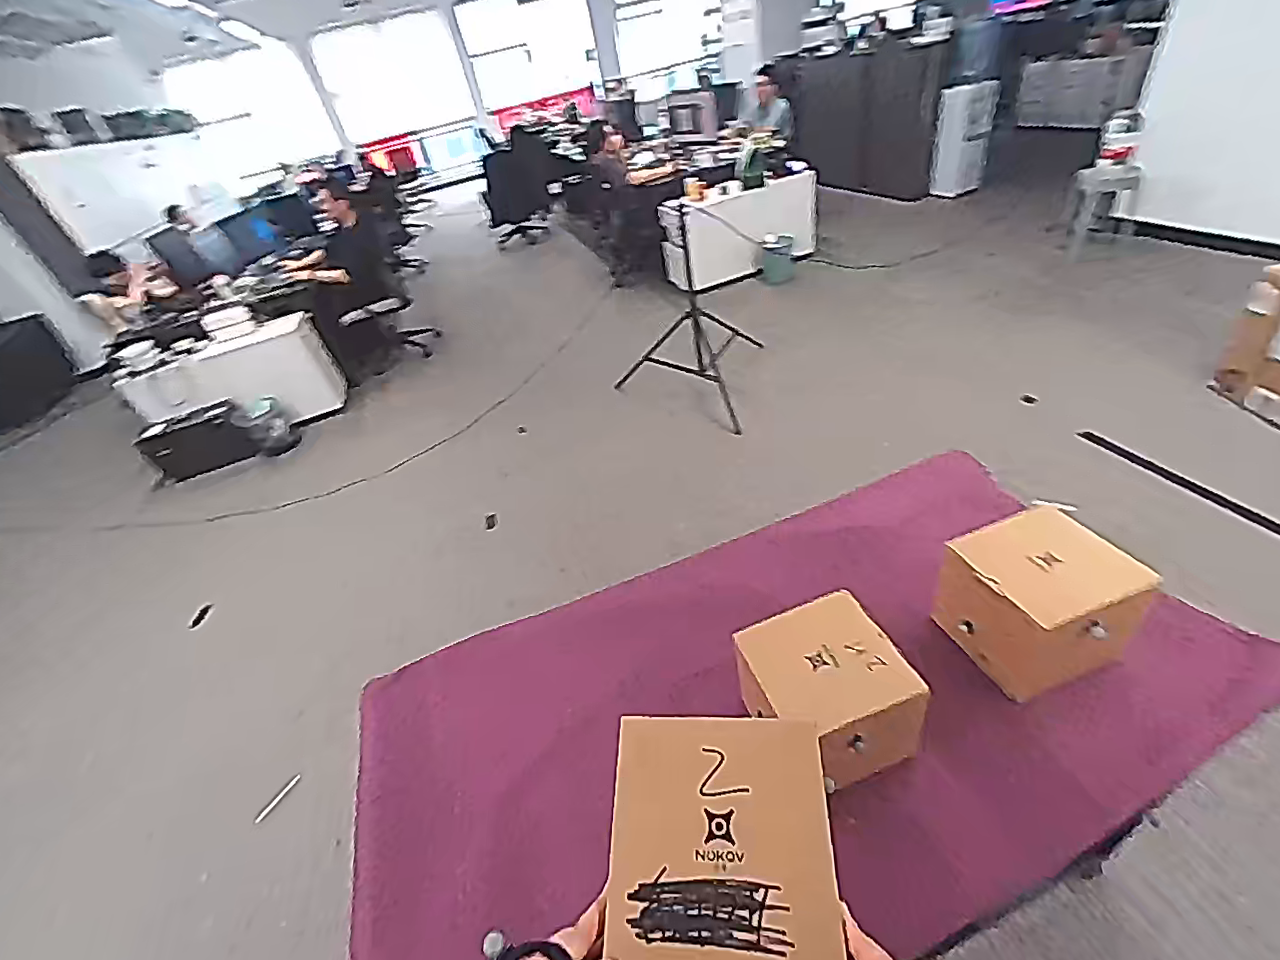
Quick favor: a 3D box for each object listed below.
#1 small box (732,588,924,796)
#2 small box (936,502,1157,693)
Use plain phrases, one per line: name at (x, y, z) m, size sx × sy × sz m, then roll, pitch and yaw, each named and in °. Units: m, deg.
small box at (0.242, 0.283, 0.720) m, size 0.179 × 0.176 × 0.168 m, roll -19°, pitch 38°, yaw -7°
small box at (0.554, 0.165, 0.768) m, size 0.179 × 0.176 × 0.168 m, roll -20°, pitch 37°, yaw -6°
